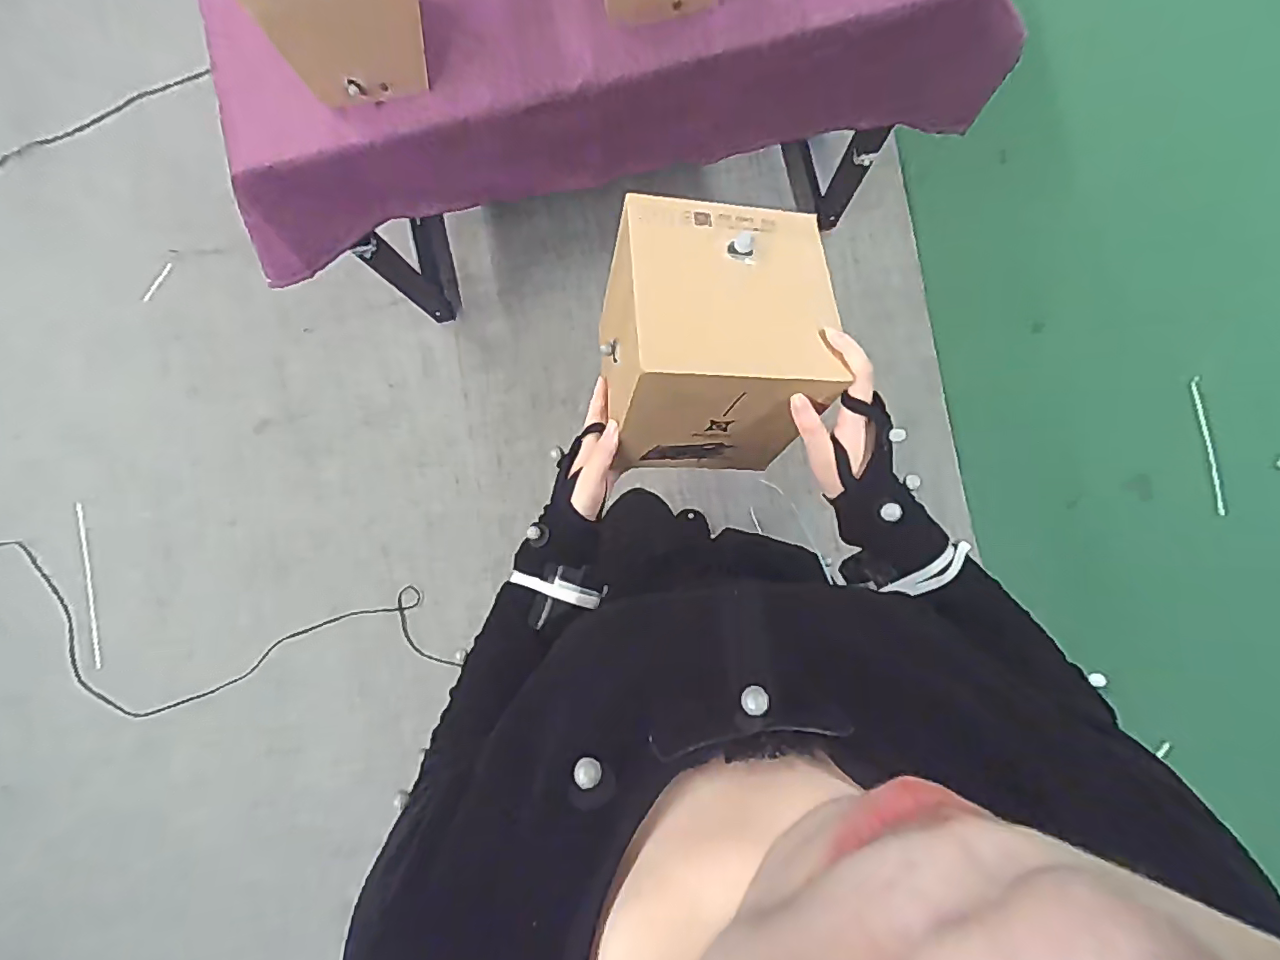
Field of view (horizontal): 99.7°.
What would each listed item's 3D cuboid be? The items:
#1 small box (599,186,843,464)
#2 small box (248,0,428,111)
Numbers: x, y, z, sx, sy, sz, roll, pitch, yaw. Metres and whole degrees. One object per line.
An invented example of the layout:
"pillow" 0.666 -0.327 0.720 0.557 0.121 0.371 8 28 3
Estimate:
"small box" 0.054 -0.126 0.493 0.168 0.179 0.176 0 68 -12
"small box" -0.423 -0.678 0.772 0.168 0.176 0.179 -8 87 3
